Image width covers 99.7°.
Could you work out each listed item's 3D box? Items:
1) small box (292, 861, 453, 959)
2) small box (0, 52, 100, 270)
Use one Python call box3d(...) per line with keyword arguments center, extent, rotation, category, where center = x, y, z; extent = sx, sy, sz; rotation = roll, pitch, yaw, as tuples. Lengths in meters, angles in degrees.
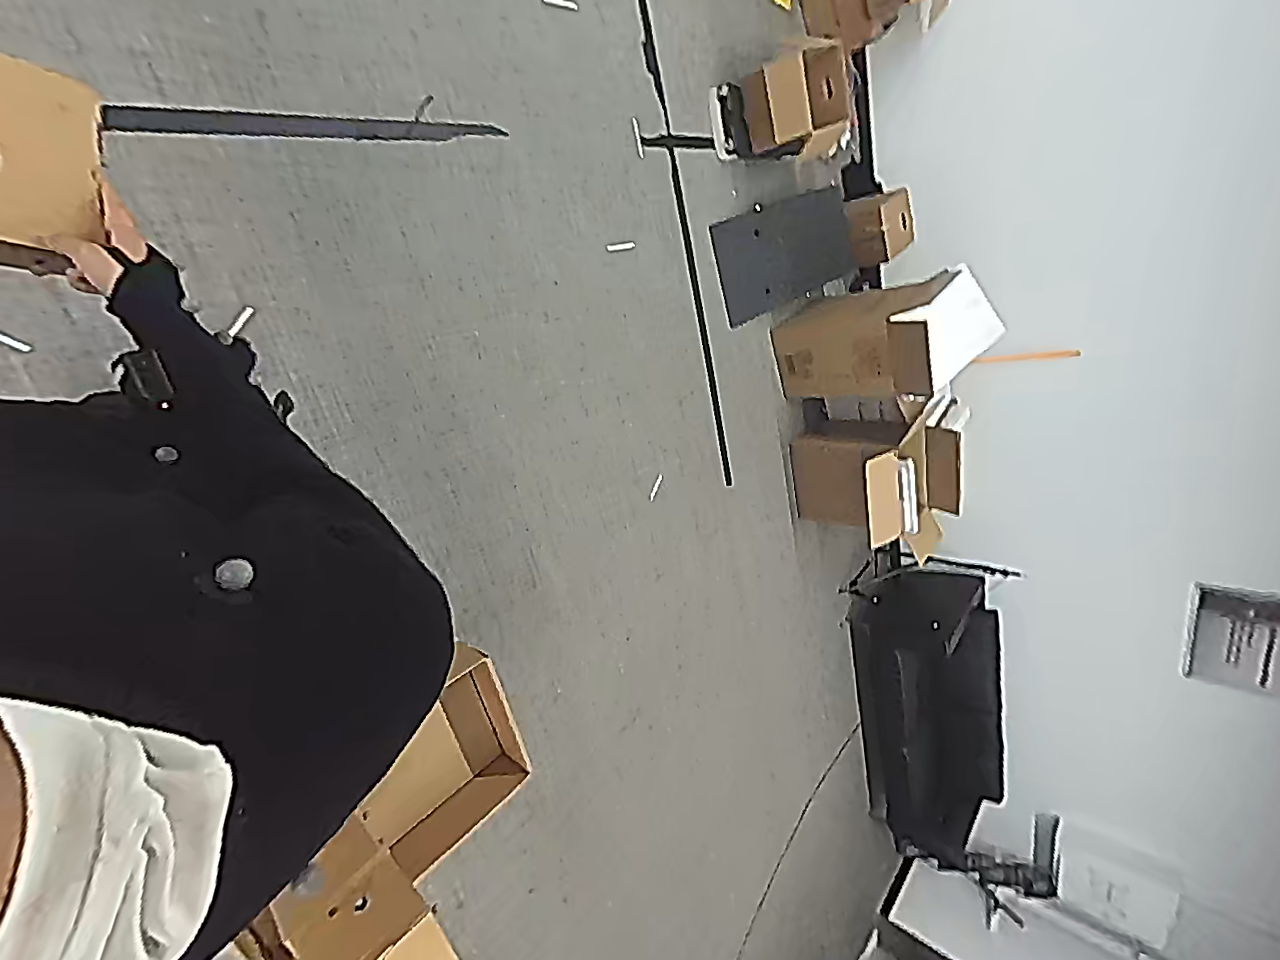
box3d(center=(-0.417, 0.768, 0.864), extent=(0.168, 0.176, 0.179), rotation=(-32, 116, -39), category="small box")
box3d(center=(-0.654, -0.306, 0.512), extent=(0.179, 0.176, 0.168), rotation=(-7, 102, -51), category="small box")
